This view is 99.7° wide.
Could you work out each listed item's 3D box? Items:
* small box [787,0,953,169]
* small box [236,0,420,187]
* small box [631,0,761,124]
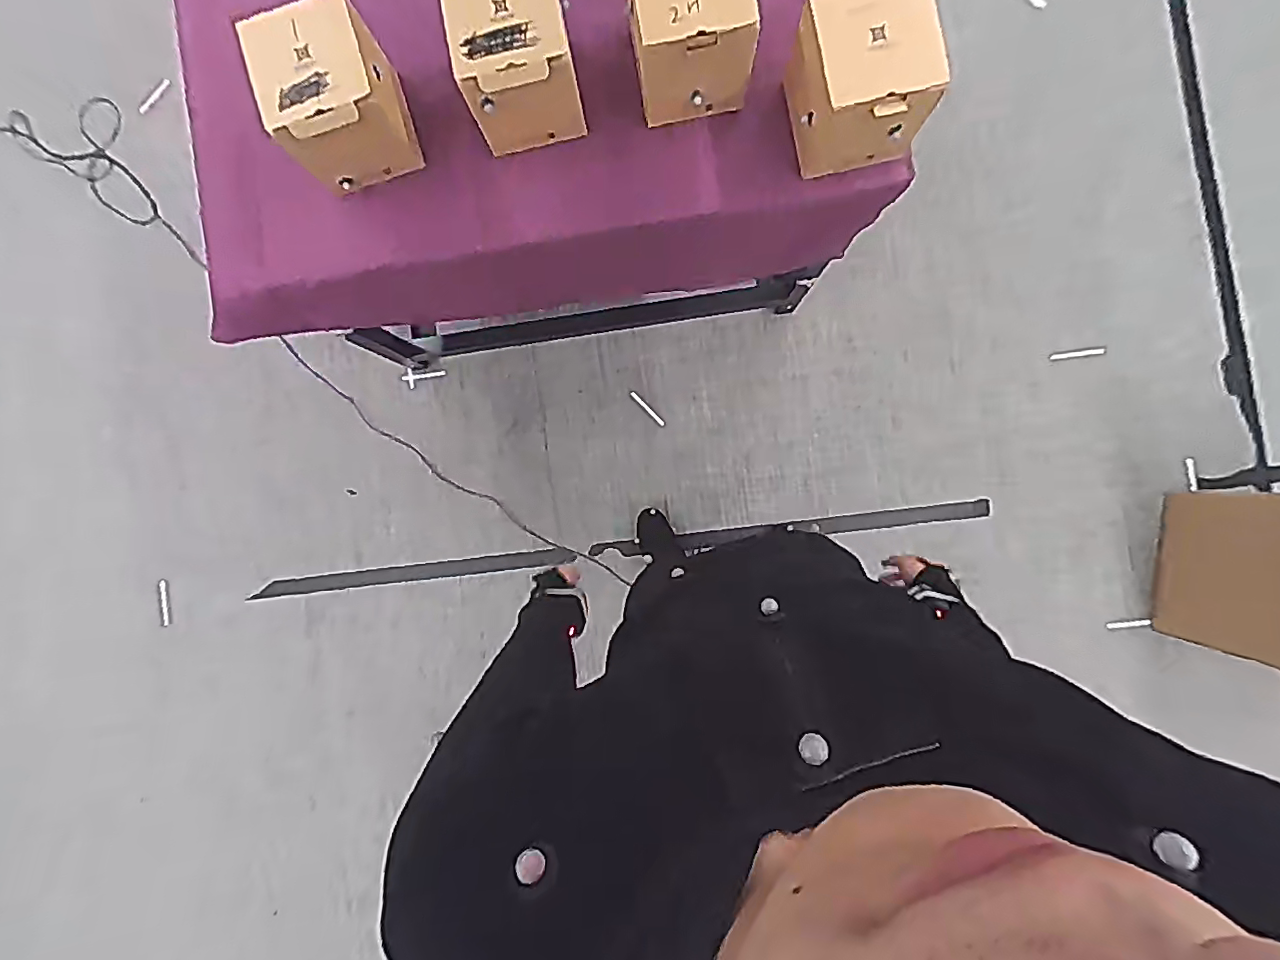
[{"bbox_3d":[0.331,-0.598,0.810,0.168,0.176,0.179,-10,88,2],"label":"small box"},{"bbox_3d":[-0.472,-0.593,0.847,0.168,0.176,0.179,-18,88,2],"label":"small box"},{"bbox_3d":[0.076,-0.693,0.823,0.168,0.176,0.179,-9,89,3],"label":"small box"}]
